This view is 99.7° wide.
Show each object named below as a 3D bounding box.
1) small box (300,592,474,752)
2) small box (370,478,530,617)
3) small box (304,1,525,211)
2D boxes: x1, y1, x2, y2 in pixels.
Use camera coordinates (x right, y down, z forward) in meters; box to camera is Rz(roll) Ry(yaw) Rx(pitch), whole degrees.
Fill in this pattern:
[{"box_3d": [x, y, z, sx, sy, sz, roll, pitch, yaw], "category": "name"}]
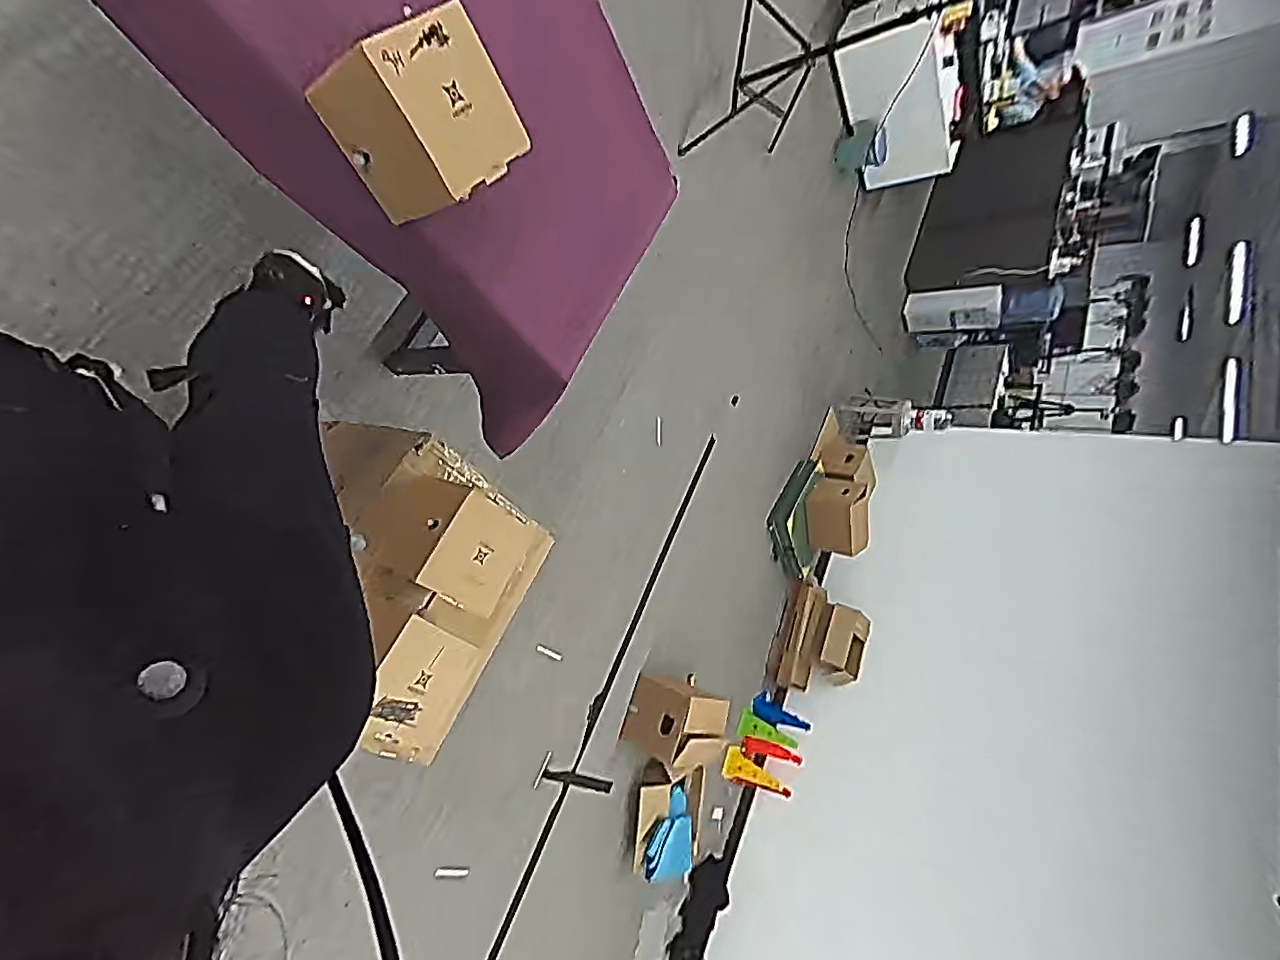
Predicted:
[{"box_3d": [-0.418, 0.308, 0.888, 0.168, 0.176, 0.179, 51, 56, -42], "category": "small box"}, {"box_3d": [-0.337, 0.112, 0.955, 0.168, 0.176, 0.179, 47, 63, -43], "category": "small box"}, {"box_3d": [-0.297, -0.484, 0.725, 0.168, 0.176, 0.179, -55, 135, -30], "category": "small box"}]
